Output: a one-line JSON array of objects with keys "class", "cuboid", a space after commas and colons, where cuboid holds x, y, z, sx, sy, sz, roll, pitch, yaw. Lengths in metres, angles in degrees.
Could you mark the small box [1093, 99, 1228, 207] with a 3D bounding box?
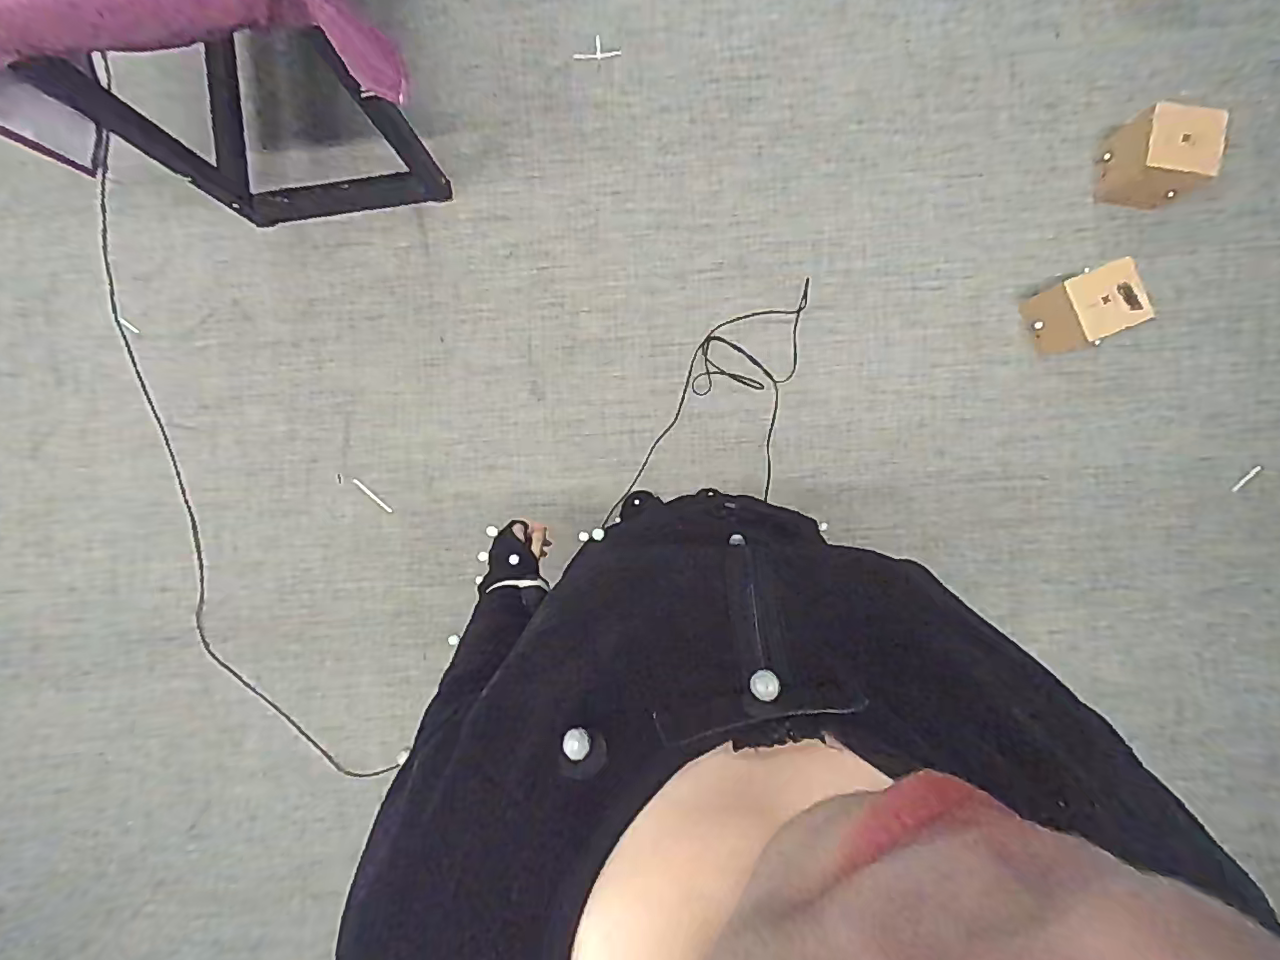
[{"class": "small box", "cuboid": [1.337, -0.835, 1.399, 0.179, 0.176, 0.168, 10, 89, 2]}]
